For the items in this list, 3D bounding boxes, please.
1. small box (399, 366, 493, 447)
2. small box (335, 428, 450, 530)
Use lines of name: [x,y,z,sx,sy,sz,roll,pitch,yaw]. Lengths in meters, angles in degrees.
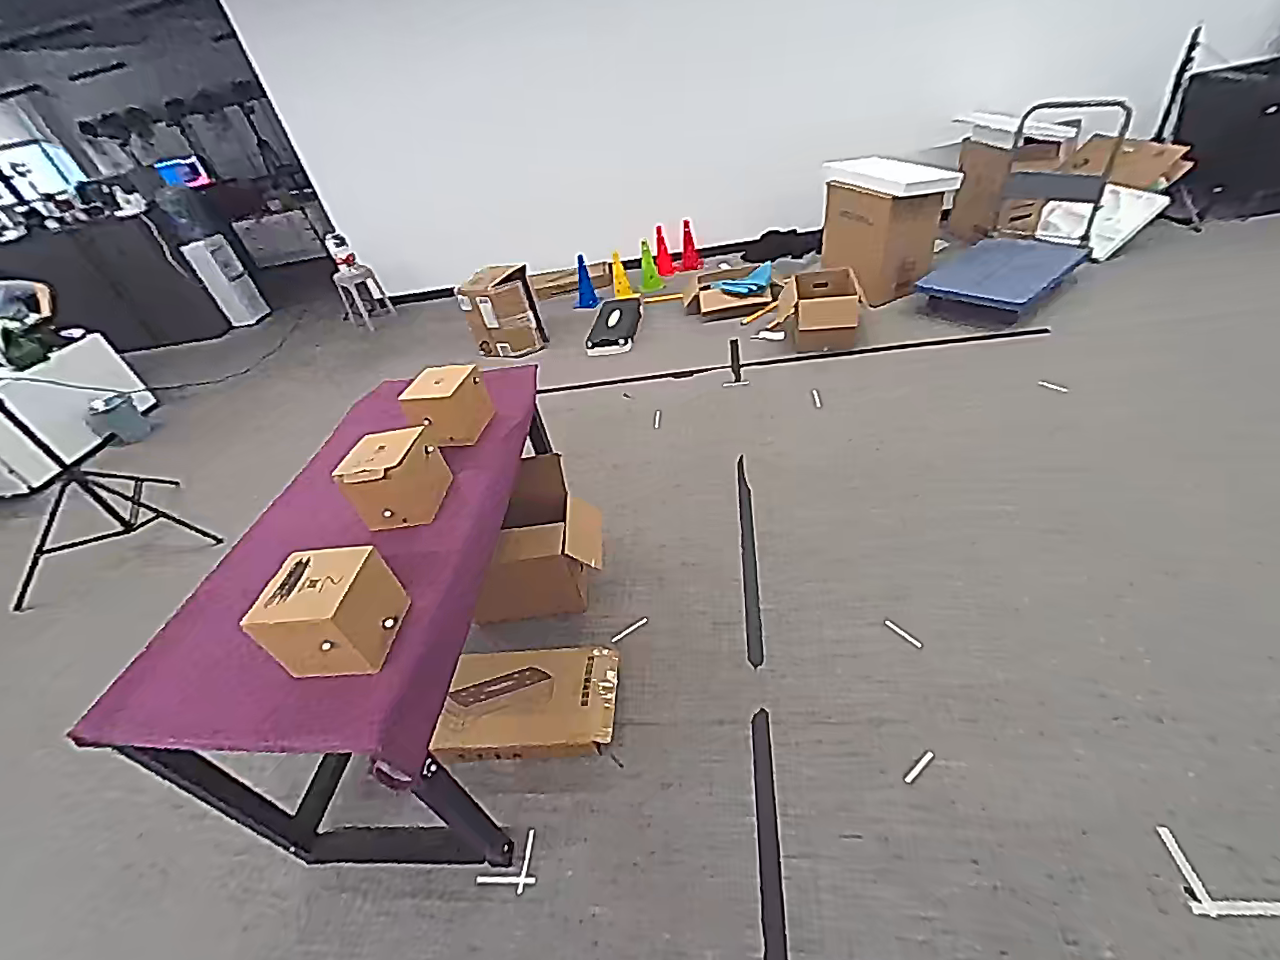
small box: [-0.546,-0.206,1.552,0.168,0.176,0.179,-2,40,14]
small box: [-0.585,-0.001,1.311,0.168,0.176,0.179,-8,39,10]
